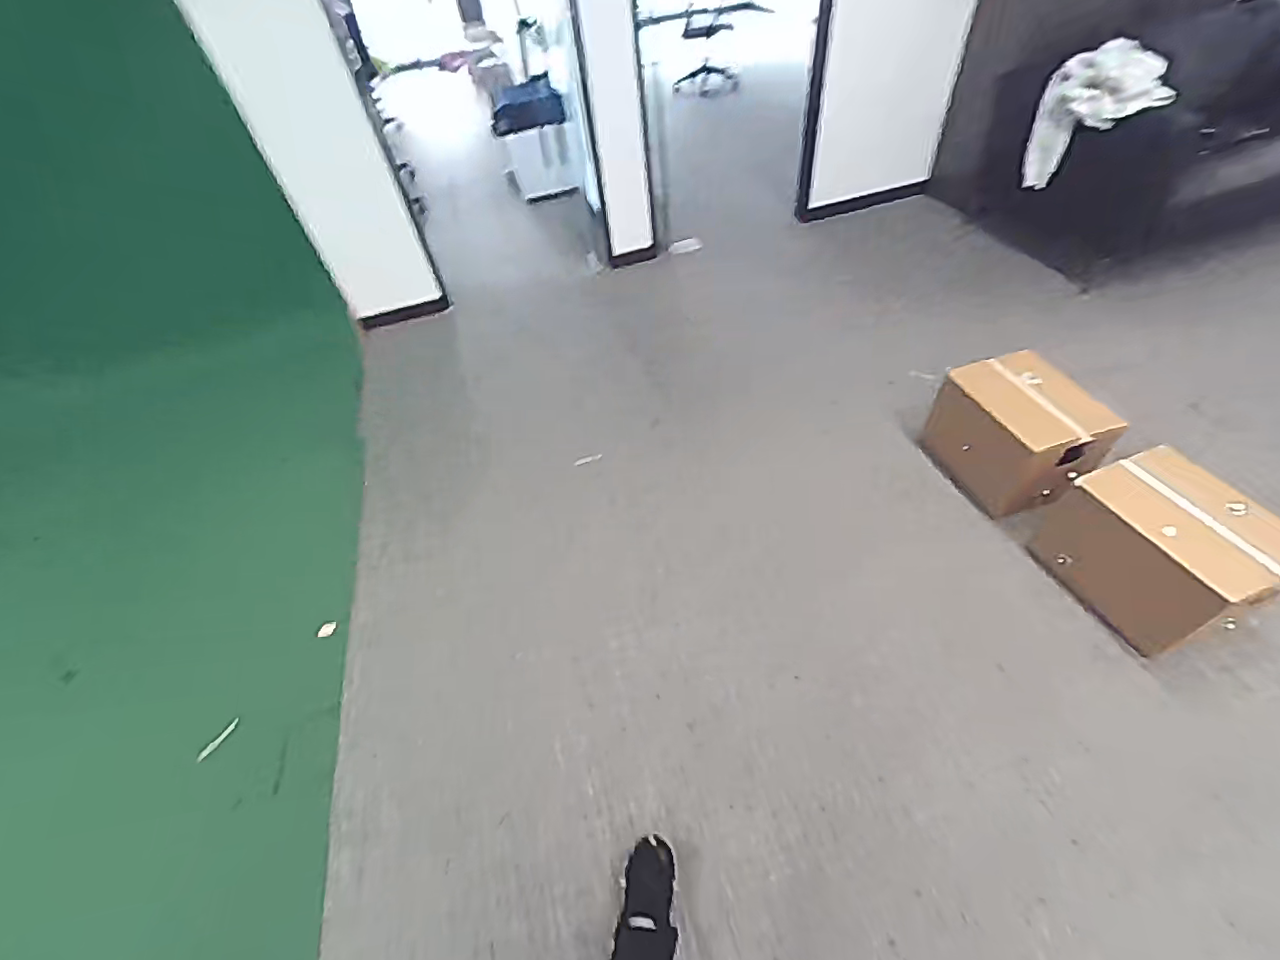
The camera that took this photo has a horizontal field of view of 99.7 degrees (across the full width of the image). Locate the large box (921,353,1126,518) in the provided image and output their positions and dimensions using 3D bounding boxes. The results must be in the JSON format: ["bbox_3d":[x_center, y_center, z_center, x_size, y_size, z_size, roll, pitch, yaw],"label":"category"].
[{"bbox_3d":[1.203,-0.148,1.758,0.320,0.320,0.408,-15,46,-6],"label":"large box"}]
